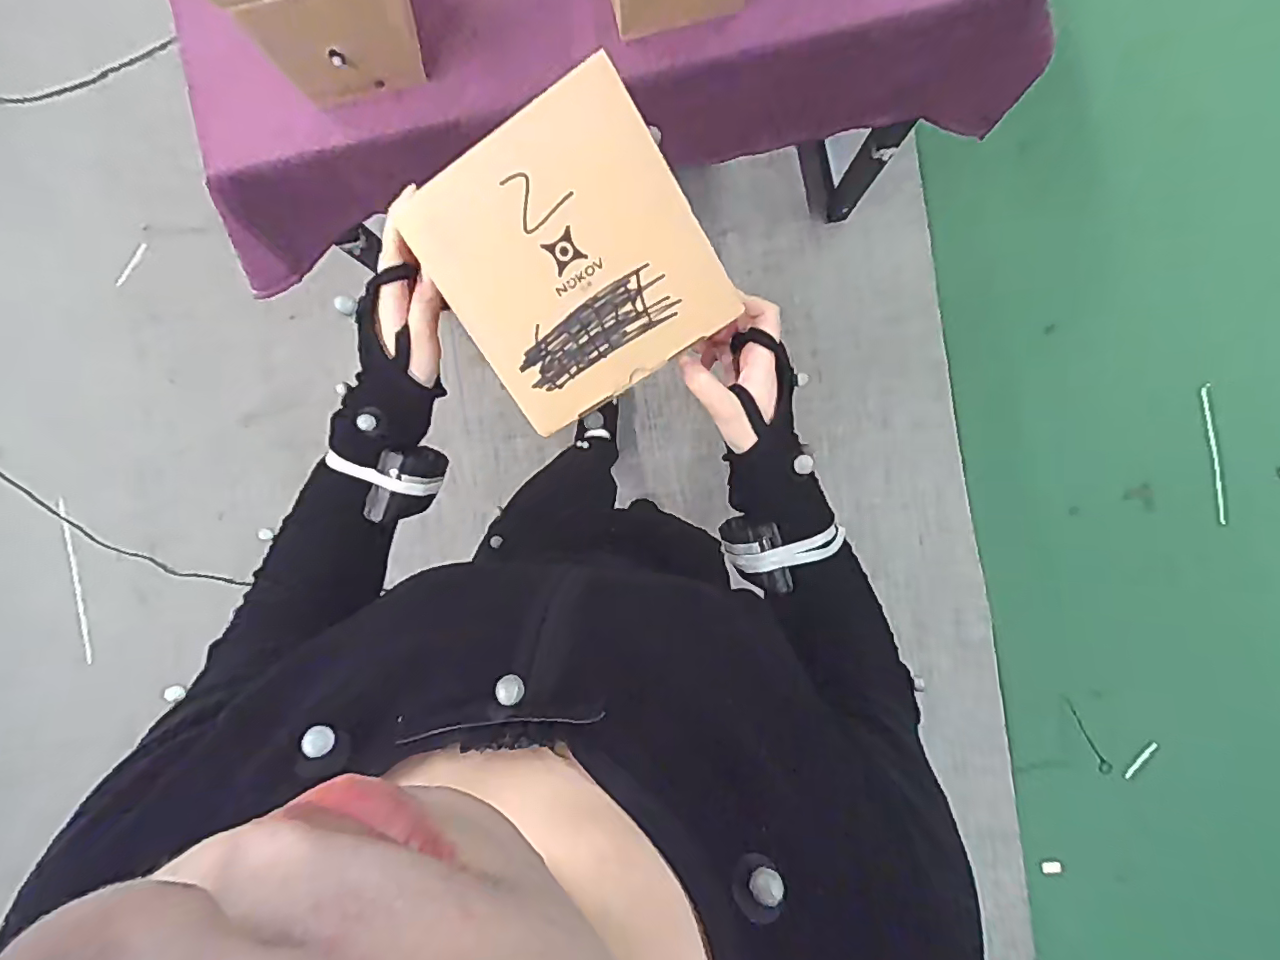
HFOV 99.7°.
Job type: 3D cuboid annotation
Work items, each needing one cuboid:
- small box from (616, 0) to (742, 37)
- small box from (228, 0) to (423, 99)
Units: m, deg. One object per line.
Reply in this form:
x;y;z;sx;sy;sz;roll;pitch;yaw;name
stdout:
0.040;-0.710;0.677;0.179;0.176;0.168;-13;90;3;small box
-0.400;-0.629;0.692;0.168;0.176;0.179;-11;89;1;small box
